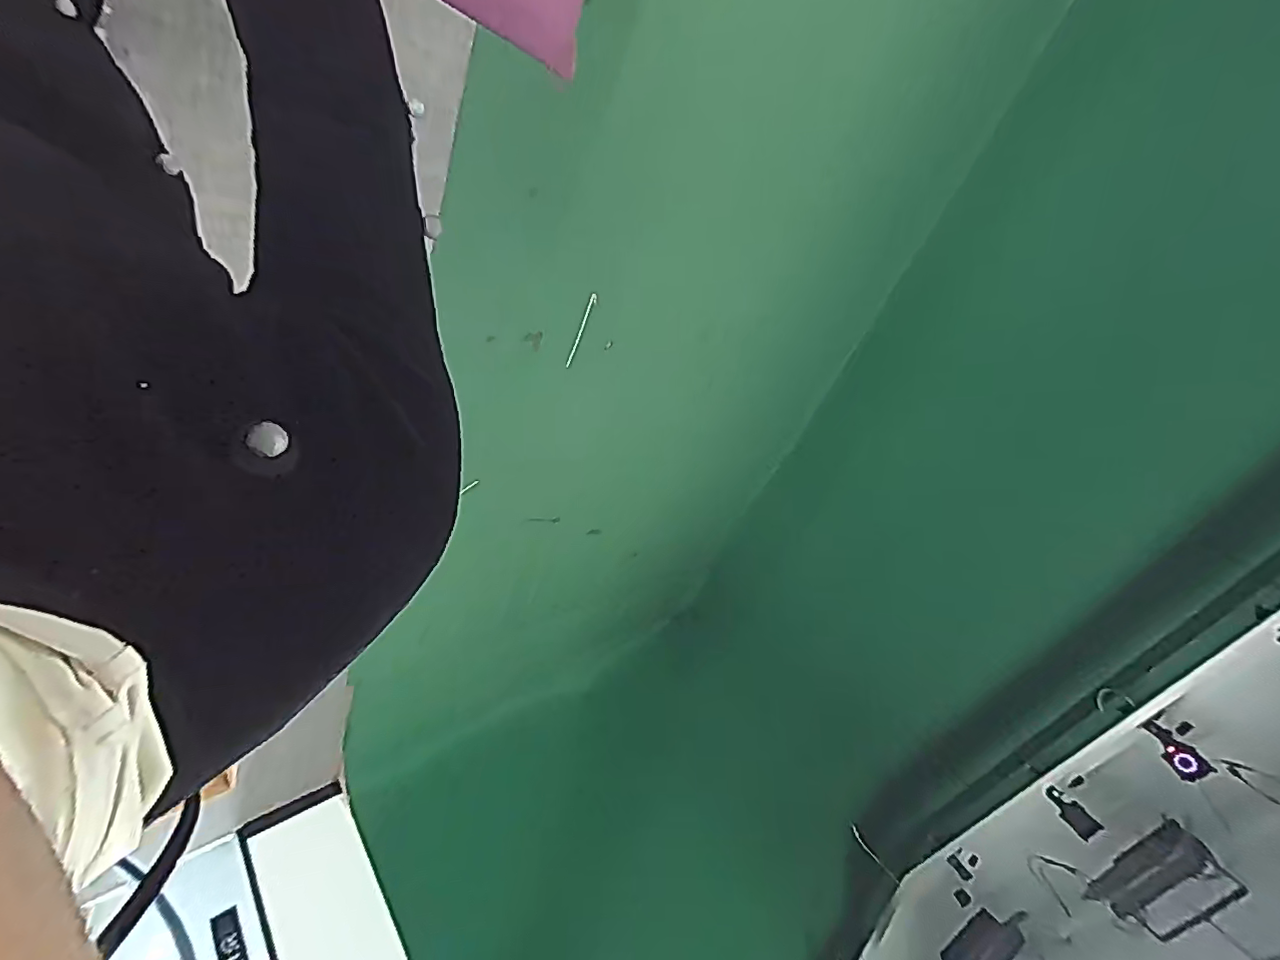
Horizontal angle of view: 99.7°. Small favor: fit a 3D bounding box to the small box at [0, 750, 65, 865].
[{"bbox_3d":[-1.511,0.796,1.303,0.168,0.176,0.179,-5,131,-46],"label":"small box"}]
